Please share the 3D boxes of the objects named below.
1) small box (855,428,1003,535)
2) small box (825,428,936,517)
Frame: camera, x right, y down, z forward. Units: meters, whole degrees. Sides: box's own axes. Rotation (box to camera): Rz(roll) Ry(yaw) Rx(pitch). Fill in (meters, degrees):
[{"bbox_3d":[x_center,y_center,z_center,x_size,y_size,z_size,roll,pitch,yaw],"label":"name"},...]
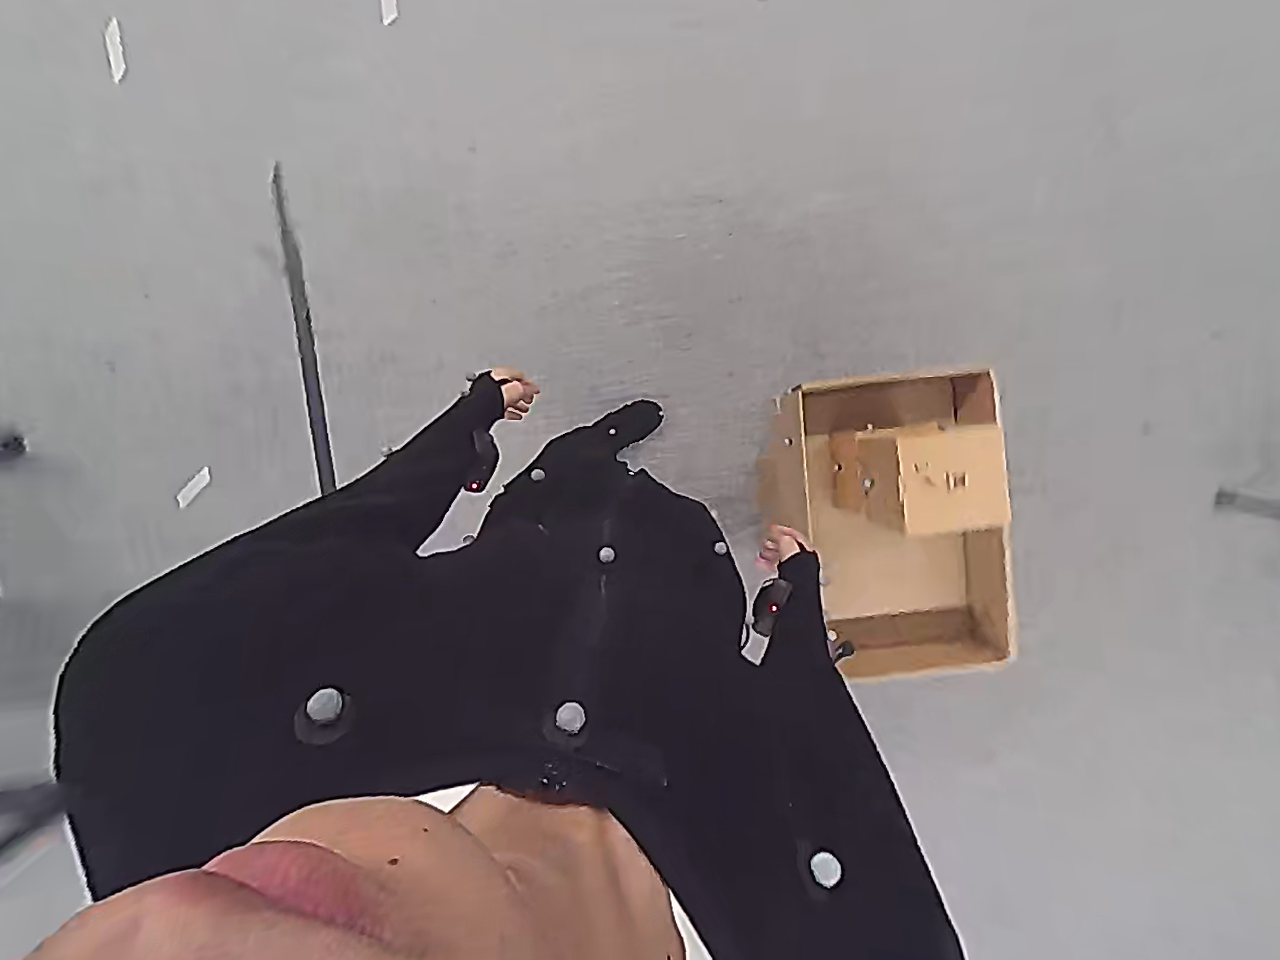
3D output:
[{"bbox_3d":[0.511,-0.004,0.973,0.179,0.176,0.168,-7,94,2],"label":"small box"},{"bbox_3d":[0.508,-0.022,1.137,0.179,0.176,0.168,-6,94,1],"label":"small box"}]
